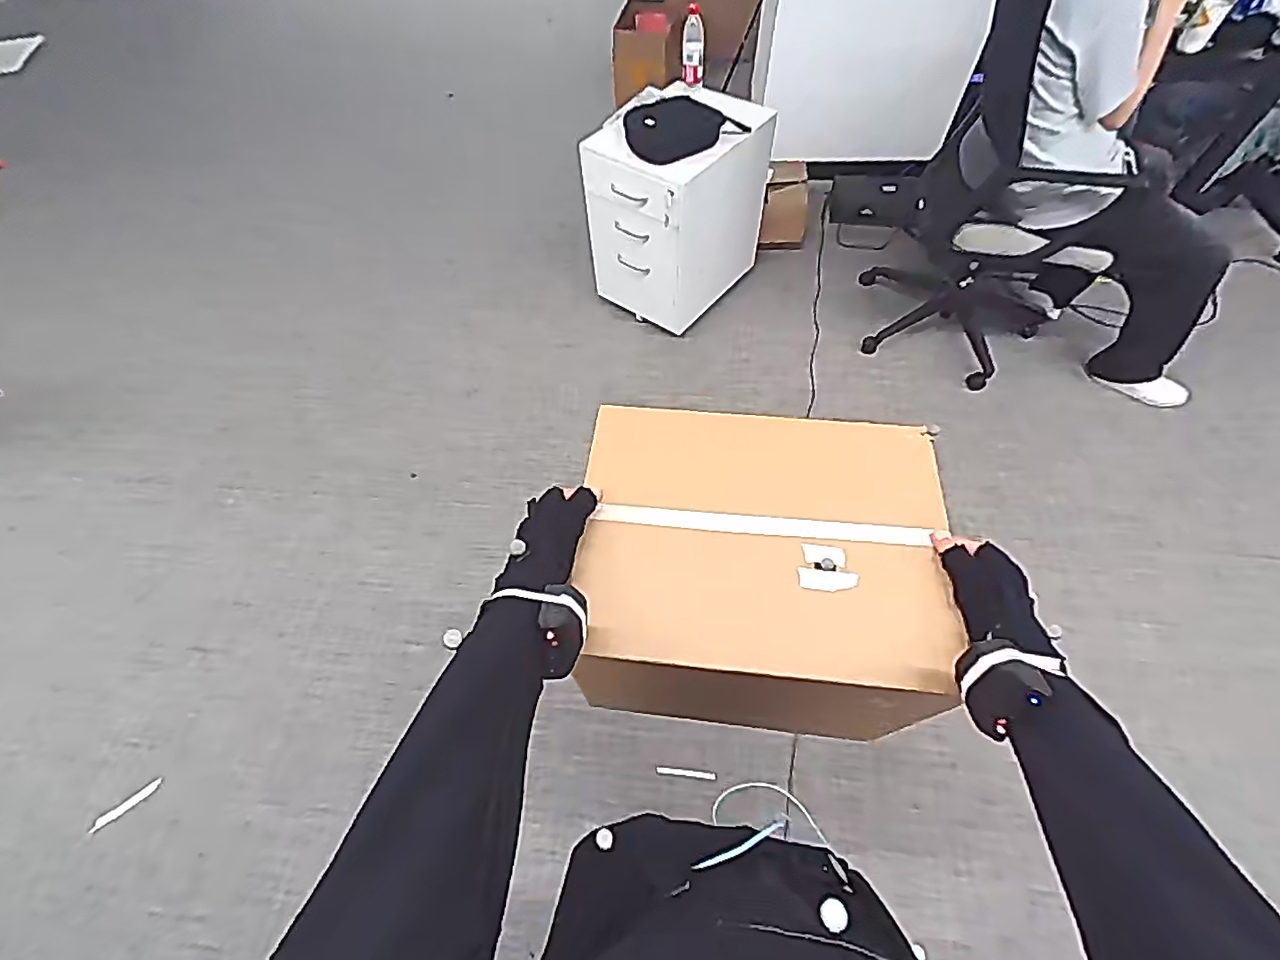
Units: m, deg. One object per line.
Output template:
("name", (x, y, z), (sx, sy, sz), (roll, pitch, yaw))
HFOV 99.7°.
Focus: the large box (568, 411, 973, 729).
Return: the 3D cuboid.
("large box", (0.141, 0.131, 0.733), (0.408, 0.320, 0.320), (5, 59, 5))
